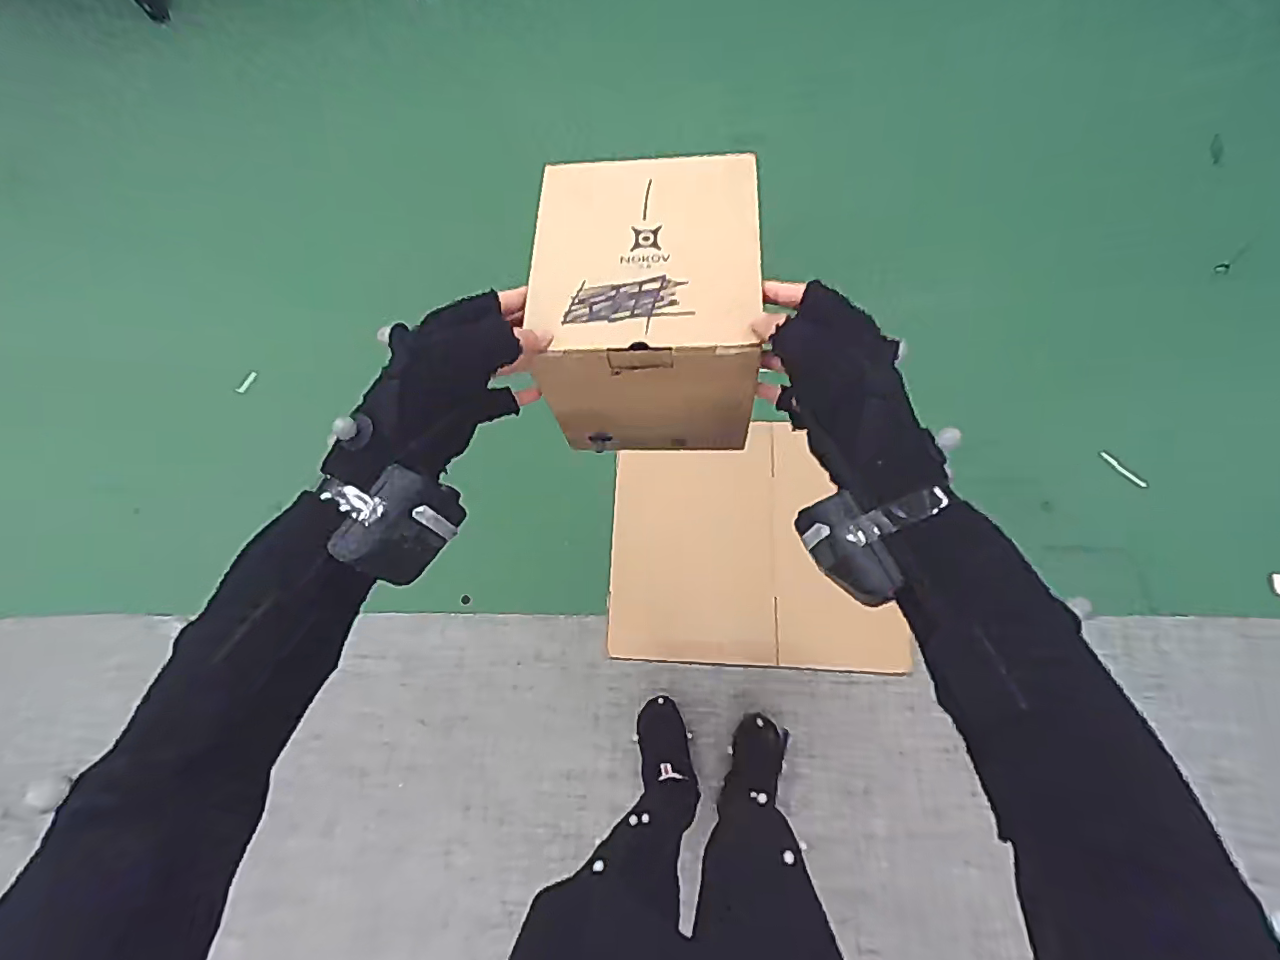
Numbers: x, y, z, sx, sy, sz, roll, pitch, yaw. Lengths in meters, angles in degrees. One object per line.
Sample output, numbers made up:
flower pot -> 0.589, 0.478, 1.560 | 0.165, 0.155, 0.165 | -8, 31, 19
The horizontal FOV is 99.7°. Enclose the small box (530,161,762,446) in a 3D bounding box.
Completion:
small box -> 0.016, -0.139, 0.474 | 0.168, 0.176, 0.179 | 0, 68, 6
